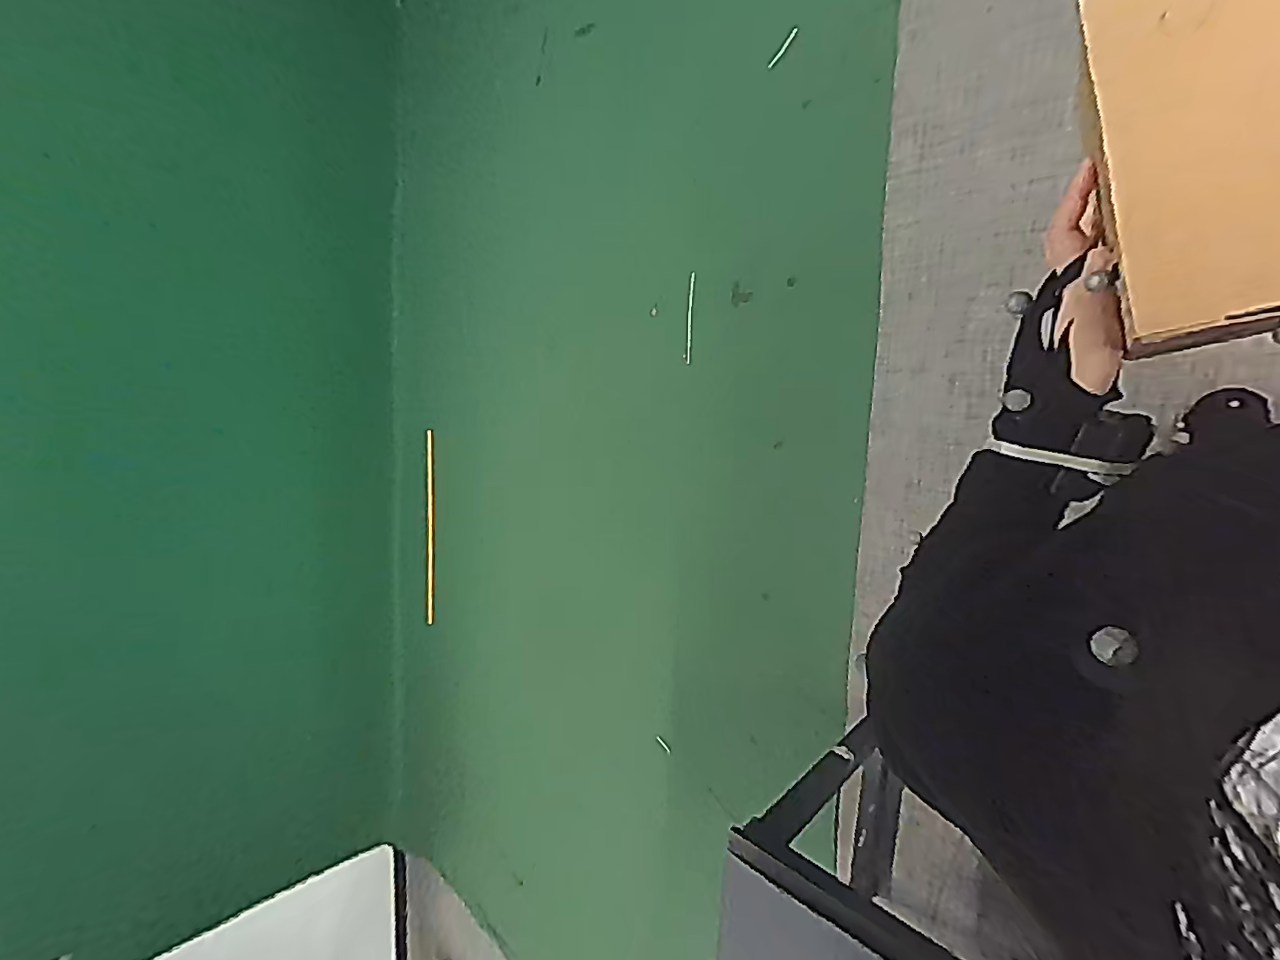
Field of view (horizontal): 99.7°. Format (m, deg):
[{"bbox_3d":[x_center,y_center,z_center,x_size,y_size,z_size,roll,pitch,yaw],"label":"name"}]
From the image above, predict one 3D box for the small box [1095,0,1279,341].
[{"bbox_3d":[0.341,-0.180,0.264,0.168,0.176,0.179,-11,90,41],"label":"small box"}]
